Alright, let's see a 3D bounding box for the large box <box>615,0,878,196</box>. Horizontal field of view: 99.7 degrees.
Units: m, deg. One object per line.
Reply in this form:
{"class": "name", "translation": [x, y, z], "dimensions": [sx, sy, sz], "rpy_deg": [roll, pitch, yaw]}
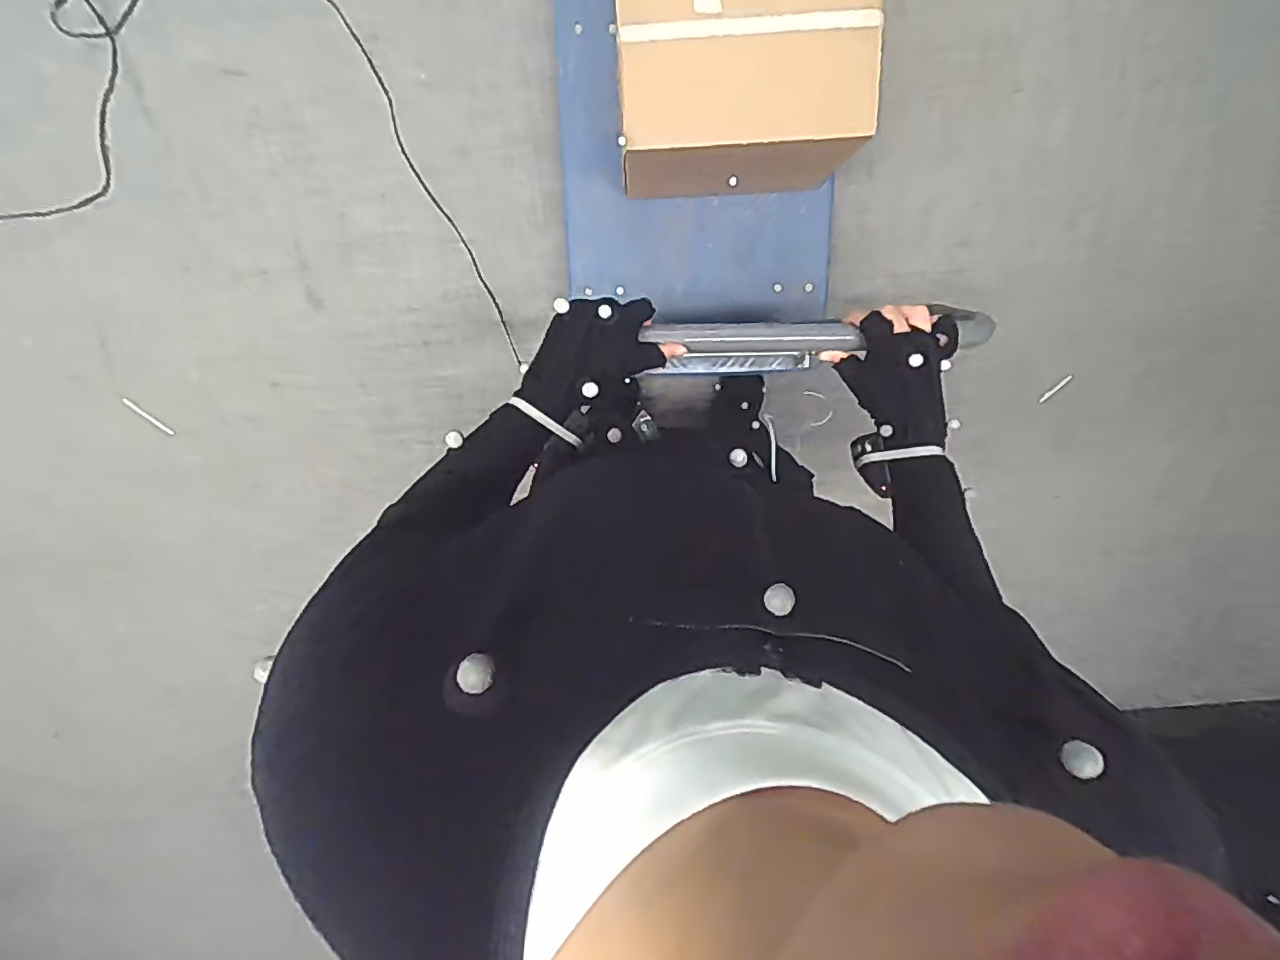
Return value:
{"class": "large box", "translation": [0.168, -0.730, 0.978], "dimensions": [0.408, 0.320, 0.320], "rpy_deg": [-4, 103, 1]}
